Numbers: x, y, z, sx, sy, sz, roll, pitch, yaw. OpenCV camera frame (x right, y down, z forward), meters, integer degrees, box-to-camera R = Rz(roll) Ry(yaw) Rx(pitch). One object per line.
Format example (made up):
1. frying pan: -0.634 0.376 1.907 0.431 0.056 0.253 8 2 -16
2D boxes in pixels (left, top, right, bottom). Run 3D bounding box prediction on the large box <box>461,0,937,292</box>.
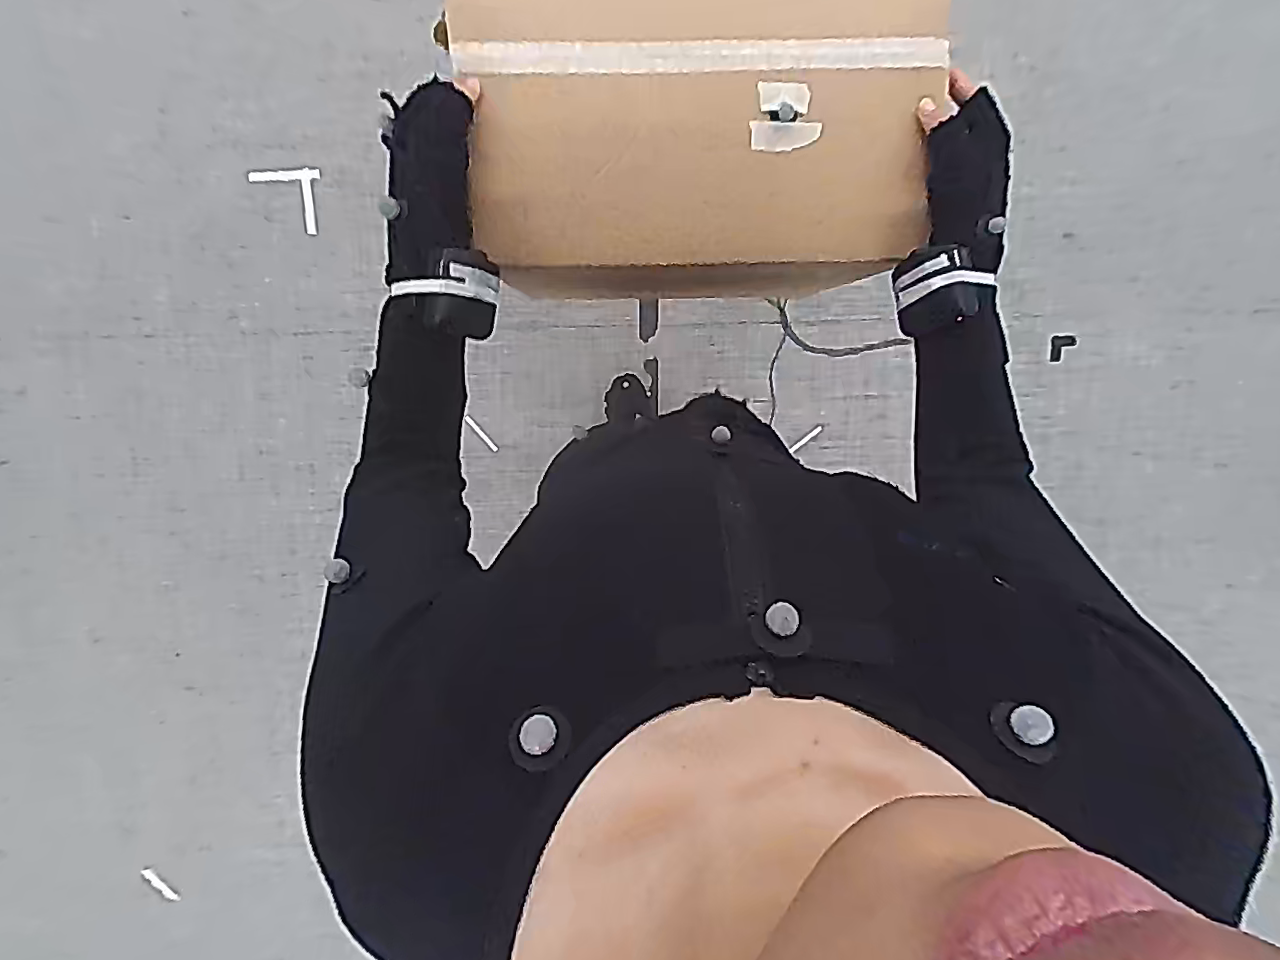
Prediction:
1. large box: 0.044 -0.392 0.601 0.408 0.320 0.320 -2 105 -3
